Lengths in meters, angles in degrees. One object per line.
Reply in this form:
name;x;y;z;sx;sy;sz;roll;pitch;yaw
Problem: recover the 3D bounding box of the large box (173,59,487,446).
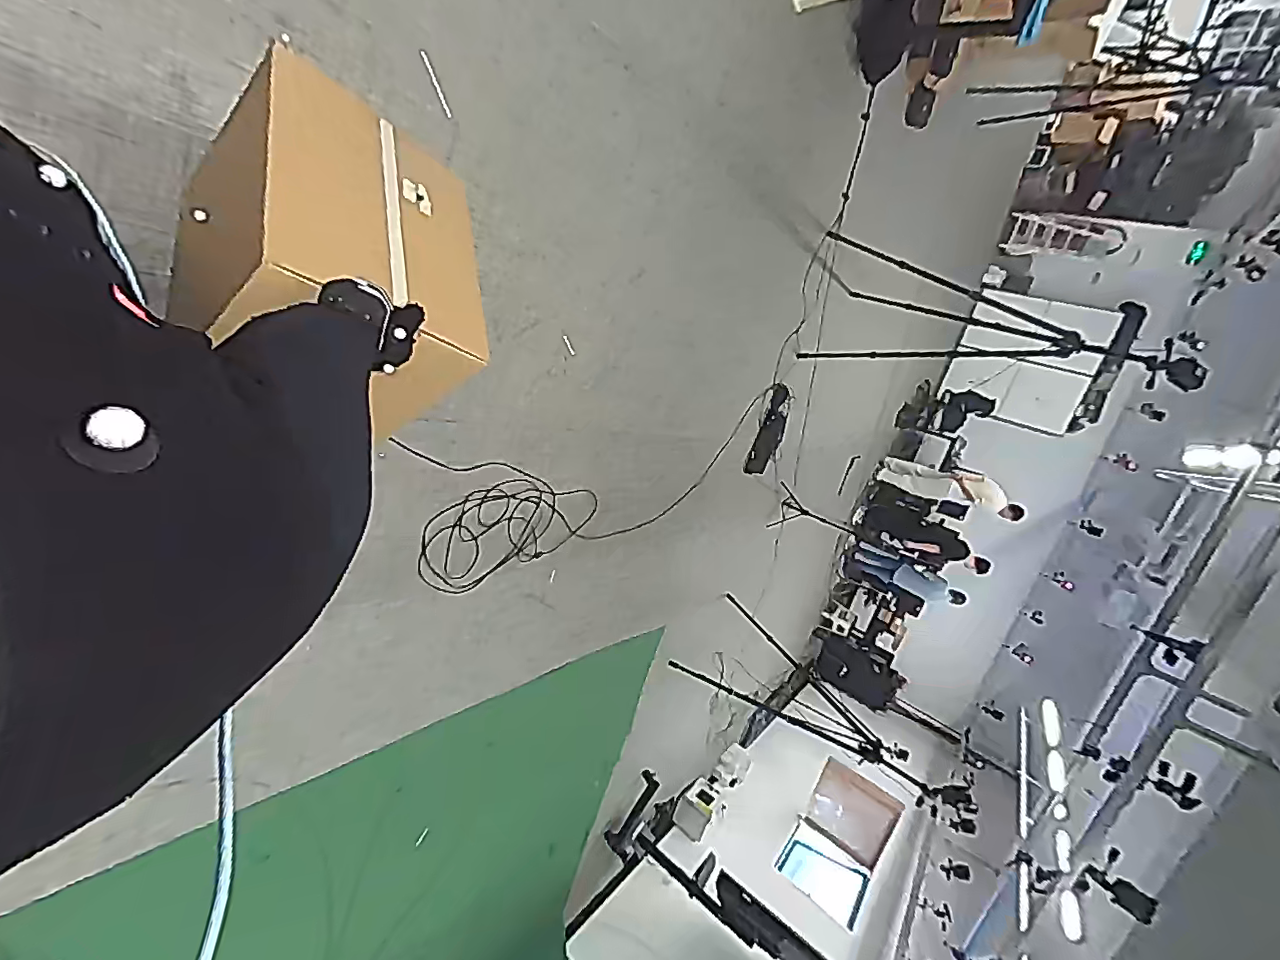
large box;-0.489;-0.319;0.863;0.320;0.408;0.320;-27;154;26
